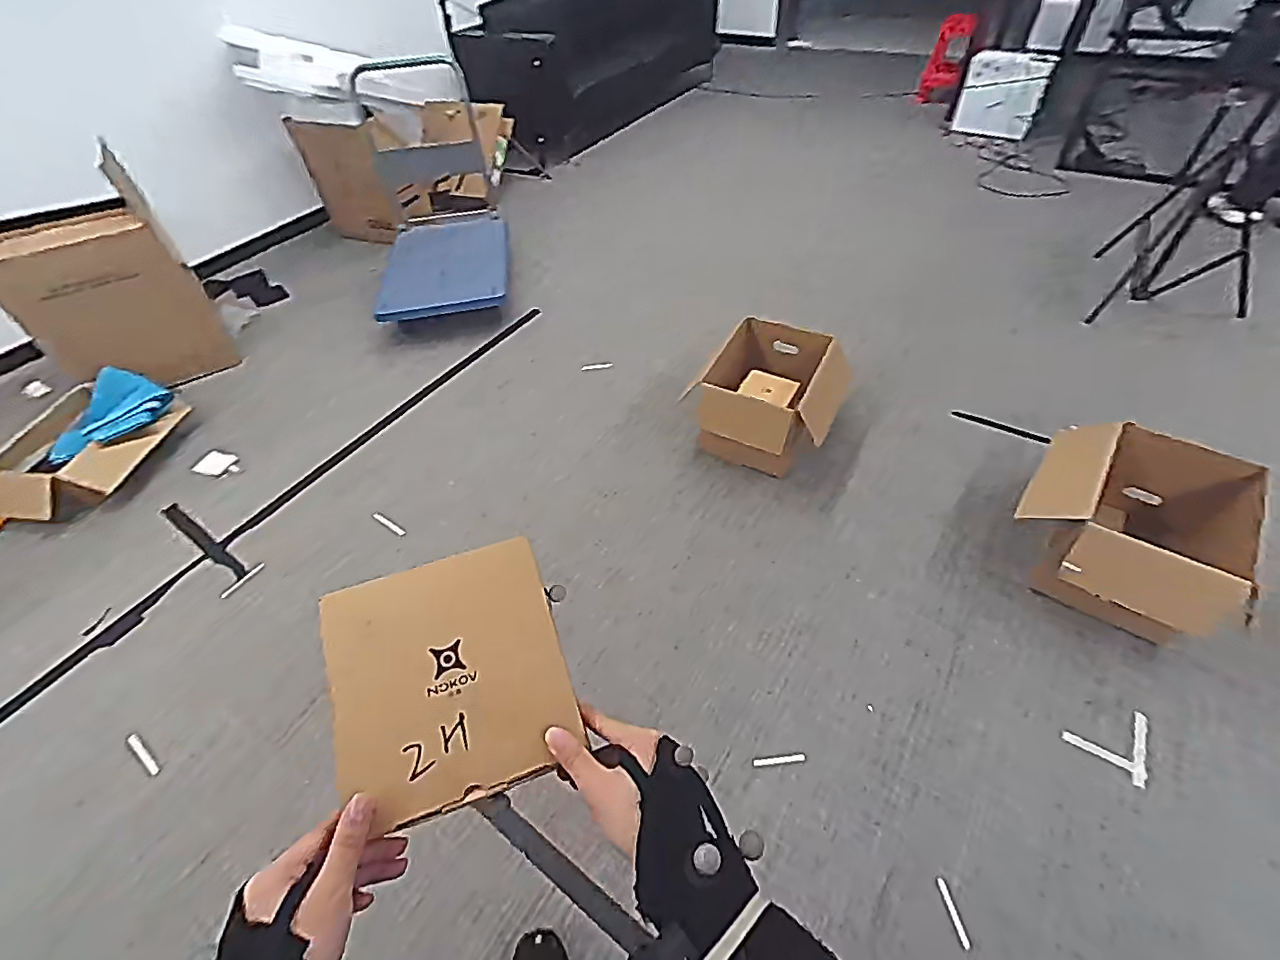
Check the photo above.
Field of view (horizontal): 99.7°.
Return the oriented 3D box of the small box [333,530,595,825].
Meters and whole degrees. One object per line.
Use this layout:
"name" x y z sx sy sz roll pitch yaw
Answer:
"small box" -0.143 0.172 0.473 0.168 0.176 0.179 -16 64 -12
